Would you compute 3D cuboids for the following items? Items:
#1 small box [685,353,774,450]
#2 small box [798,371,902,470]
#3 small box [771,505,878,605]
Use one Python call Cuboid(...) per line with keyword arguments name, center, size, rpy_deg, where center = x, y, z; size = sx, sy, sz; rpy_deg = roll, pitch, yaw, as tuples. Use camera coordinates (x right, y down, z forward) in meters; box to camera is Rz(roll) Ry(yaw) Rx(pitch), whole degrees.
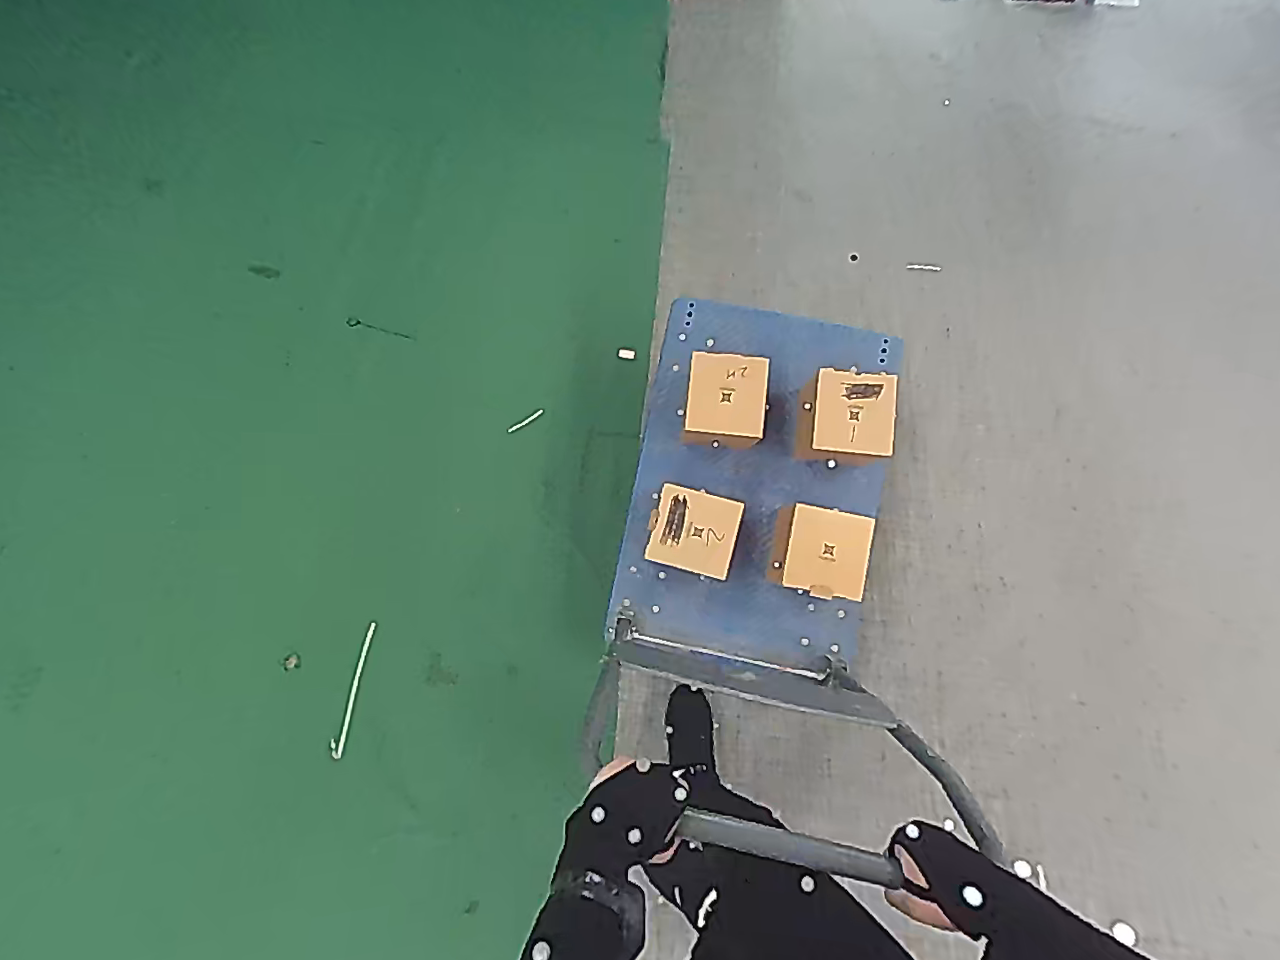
Cuboid(name="small box", center=(0.195, -0.169, 1.219), size=(0.168, 0.176, 0.179), rpy_deg=(7, 84, 2))
Cuboid(name="small box", center=(0.460, -0.127, 1.206), size=(0.168, 0.176, 0.179), rpy_deg=(7, 85, 3))
Cuboid(name="small box", center=(0.393, 0.160, 1.179), size=(0.168, 0.176, 0.179), rpy_deg=(12, 85, 3))
